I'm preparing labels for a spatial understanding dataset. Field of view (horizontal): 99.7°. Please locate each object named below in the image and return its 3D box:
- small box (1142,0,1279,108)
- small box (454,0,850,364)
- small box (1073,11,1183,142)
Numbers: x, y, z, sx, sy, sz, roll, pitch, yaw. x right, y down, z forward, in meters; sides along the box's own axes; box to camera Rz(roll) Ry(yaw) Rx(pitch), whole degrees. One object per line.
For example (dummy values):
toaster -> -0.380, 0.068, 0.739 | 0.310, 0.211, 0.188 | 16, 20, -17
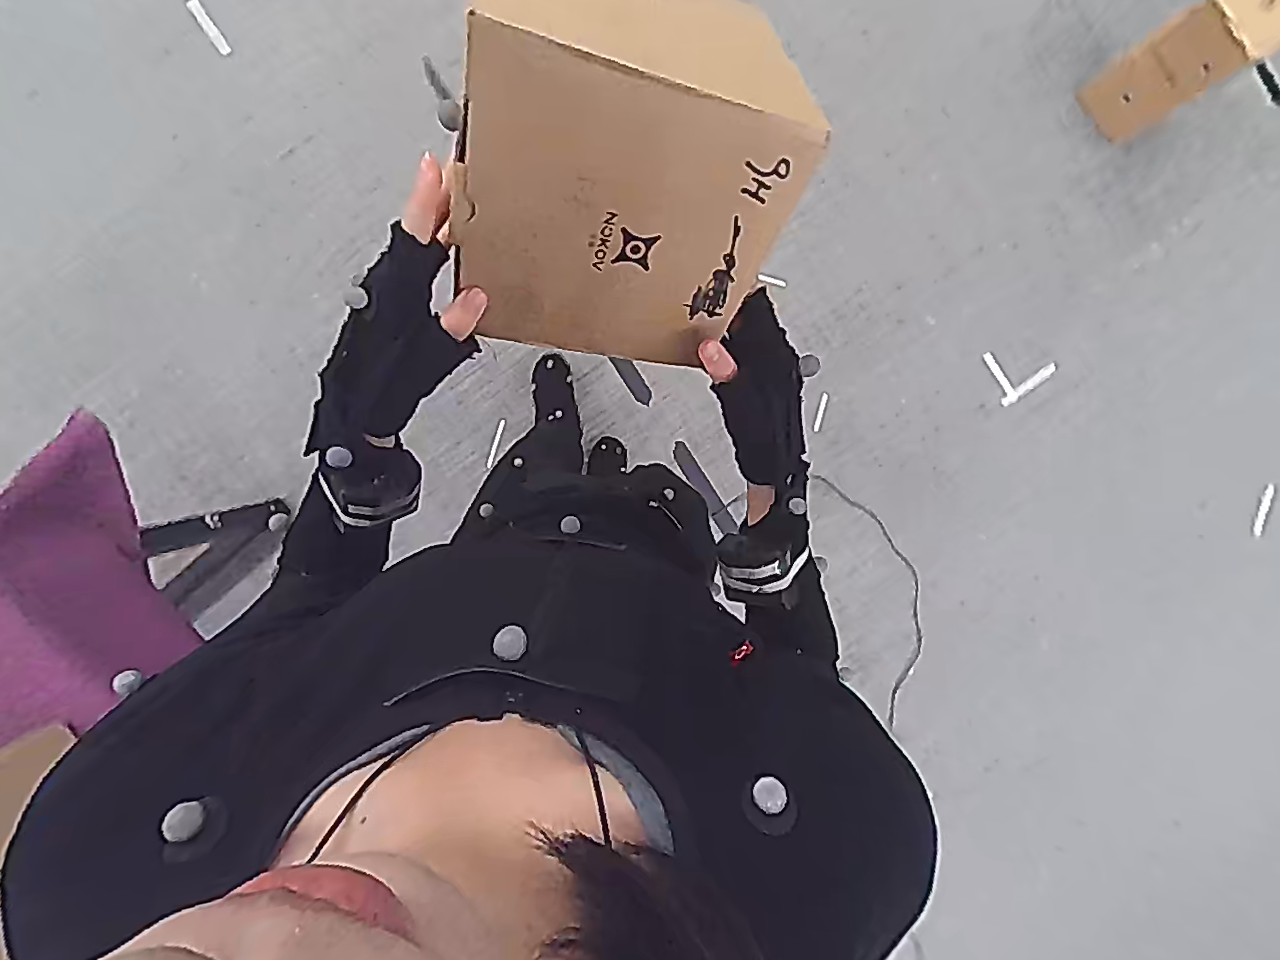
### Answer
small box -> 1.277, -0.982, 1.196 | 0.179, 0.176, 0.168 | -39, 96, 1
small box -> -0.011, -0.204, 0.338 | 0.179, 0.168, 0.176 | 7, 55, -18
small box -> 1.261, -0.993, 1.358 | 0.168, 0.176, 0.179 | -42, 94, 3
